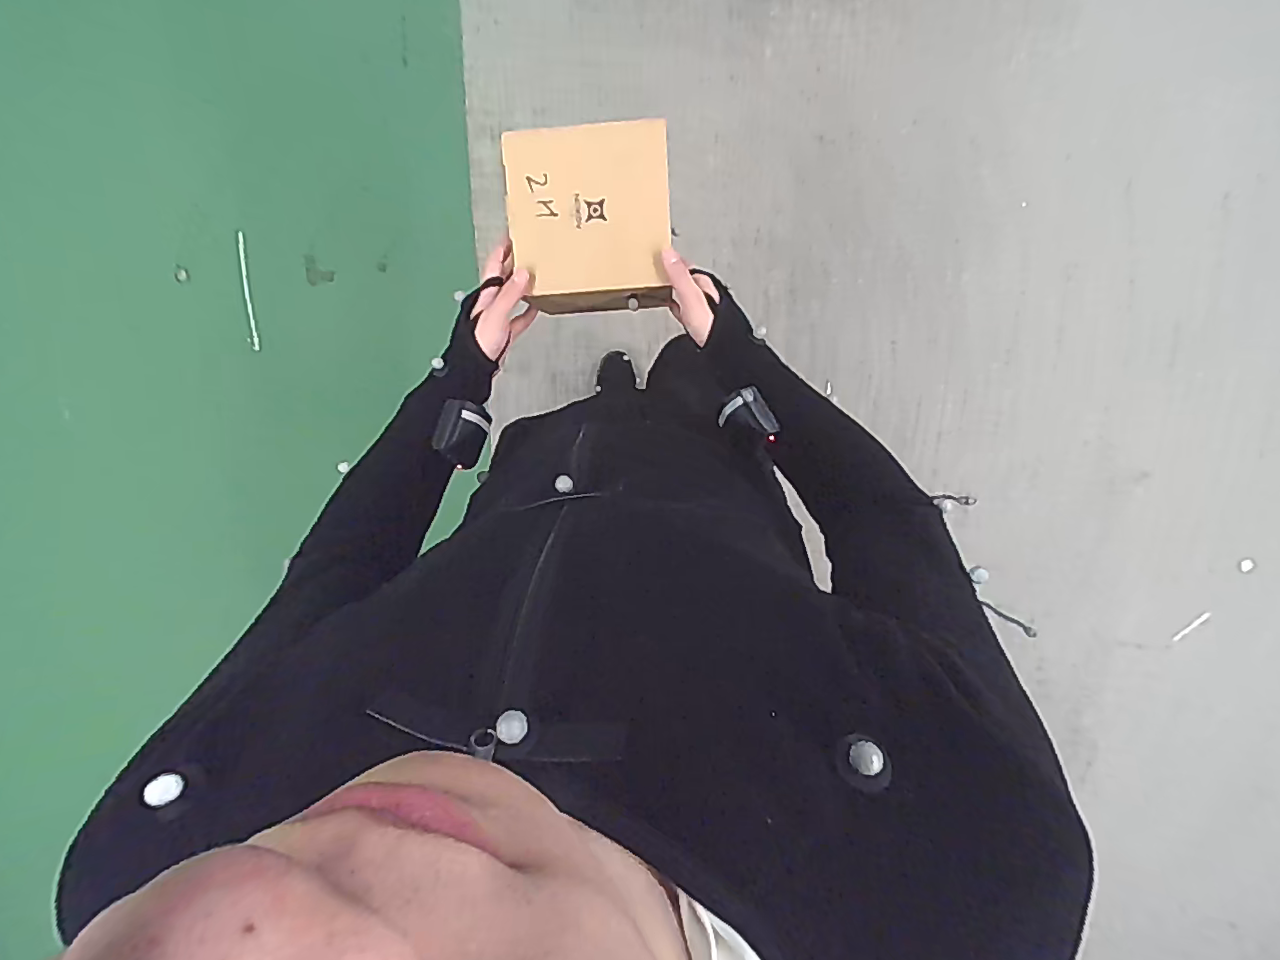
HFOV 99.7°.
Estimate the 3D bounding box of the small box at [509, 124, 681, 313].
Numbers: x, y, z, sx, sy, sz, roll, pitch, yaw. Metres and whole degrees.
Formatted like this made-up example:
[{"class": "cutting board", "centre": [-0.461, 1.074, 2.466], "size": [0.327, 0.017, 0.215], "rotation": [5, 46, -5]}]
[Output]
[{"class": "small box", "centre": [-0.044, -0.296, 0.647], "size": [0.179, 0.176, 0.168], "rotation": [-2, 100, 3]}]
